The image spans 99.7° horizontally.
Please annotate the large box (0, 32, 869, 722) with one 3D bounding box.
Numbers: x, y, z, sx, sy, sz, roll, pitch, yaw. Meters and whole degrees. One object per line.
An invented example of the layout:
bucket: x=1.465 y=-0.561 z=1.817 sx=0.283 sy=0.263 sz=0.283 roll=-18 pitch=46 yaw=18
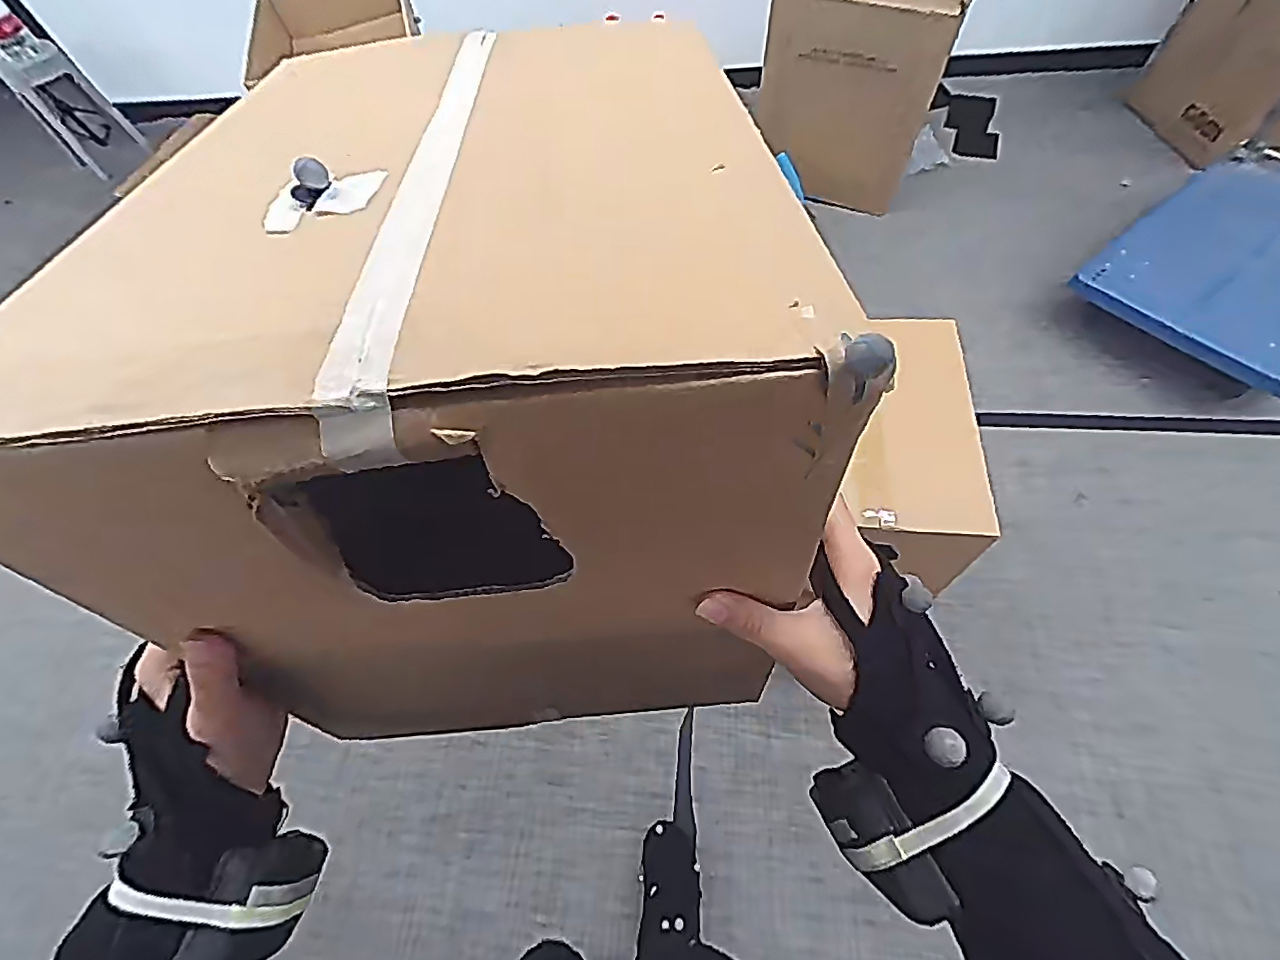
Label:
large box: x=-0.090 y=-0.081 z=0.408 sx=0.320 sy=0.320 sz=0.408 roll=-7 pitch=52 yaw=0
